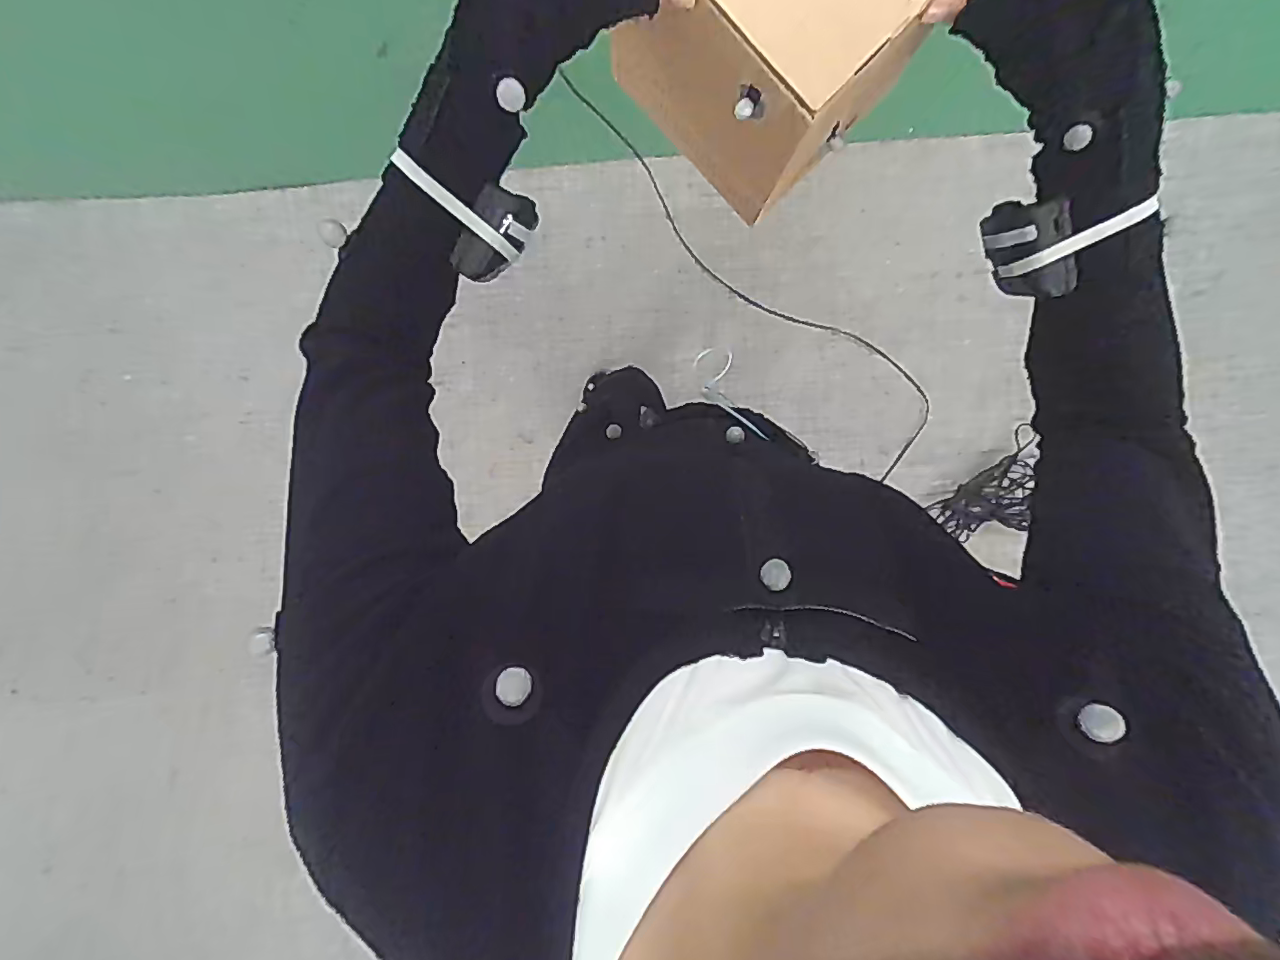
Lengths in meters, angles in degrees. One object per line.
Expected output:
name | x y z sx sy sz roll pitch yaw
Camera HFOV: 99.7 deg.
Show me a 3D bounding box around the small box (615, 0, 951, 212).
small box | 0.093 -0.335 0.387 0.168 0.176 0.179 -44 96 2
